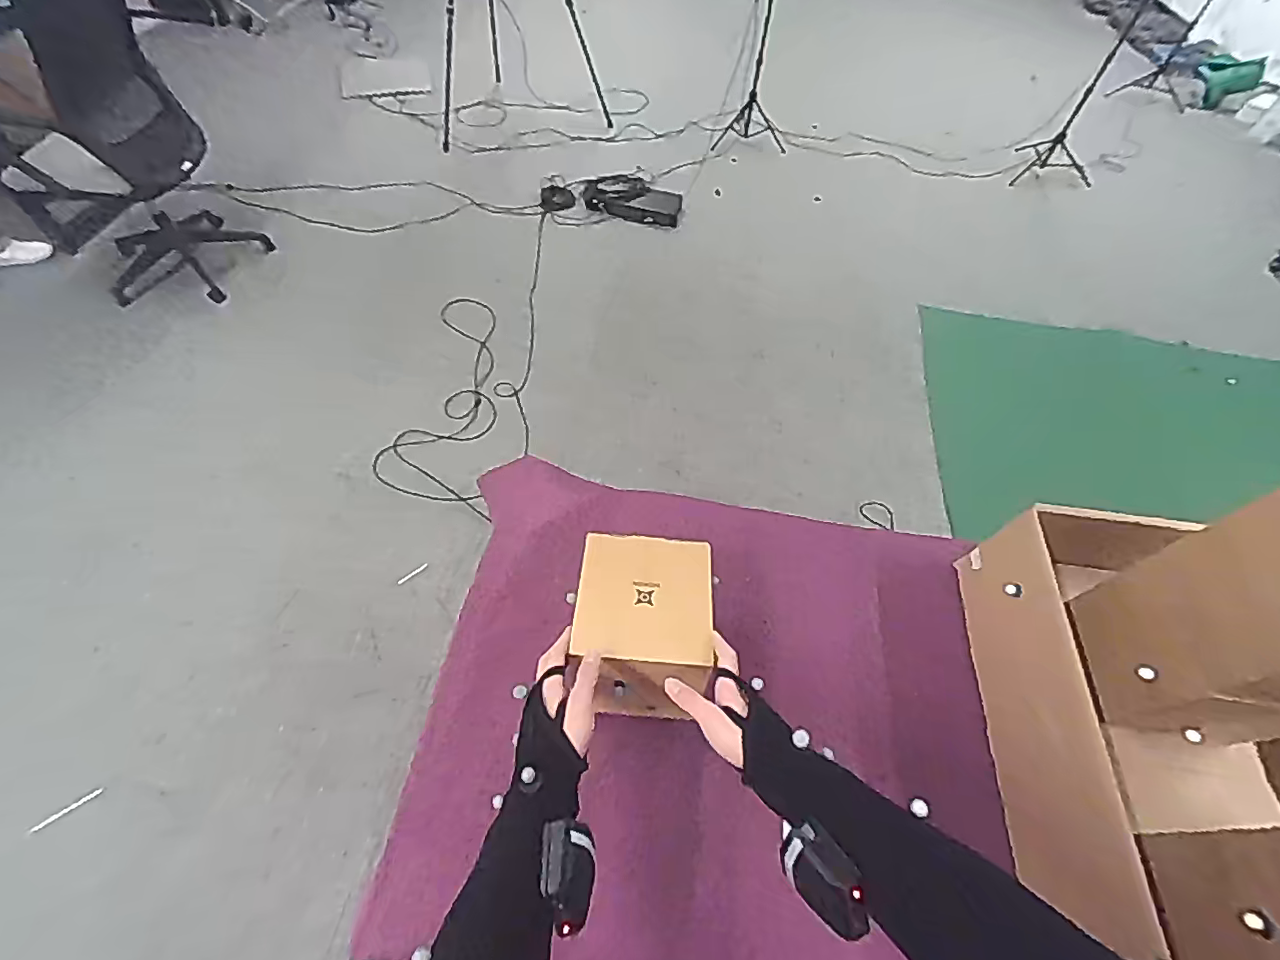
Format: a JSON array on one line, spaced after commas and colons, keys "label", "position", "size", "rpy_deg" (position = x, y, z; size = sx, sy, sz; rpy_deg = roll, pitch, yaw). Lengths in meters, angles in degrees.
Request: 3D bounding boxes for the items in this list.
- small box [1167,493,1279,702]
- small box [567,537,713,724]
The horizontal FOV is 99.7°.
[{"label": "small box", "position": [0.712, 0.132, 0.550], "size": [0.168, 0.176, 0.179], "rpy_deg": [10, 56, 5]}, {"label": "small box", "position": [0.003, 0.200, 0.710], "size": [0.168, 0.176, 0.179], "rpy_deg": [5, 43, 0]}]
